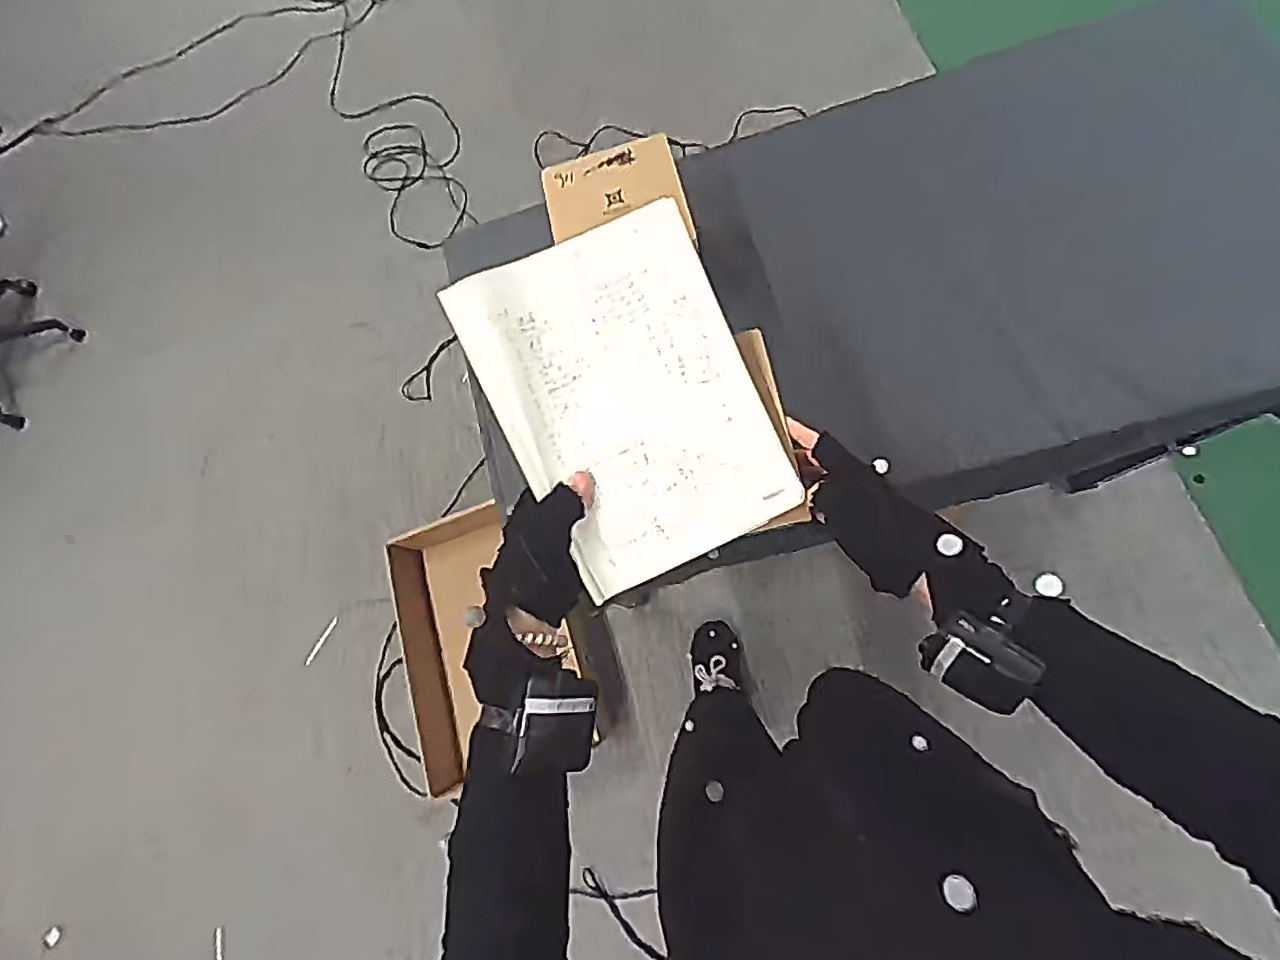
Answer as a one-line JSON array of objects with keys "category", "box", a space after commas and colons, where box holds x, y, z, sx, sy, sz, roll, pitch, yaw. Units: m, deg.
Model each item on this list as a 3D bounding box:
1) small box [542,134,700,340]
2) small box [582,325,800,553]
[{"category": "small box", "box": [-0.018, -0.309, 0.729, 0.168, 0.176, 0.179, -14, 73, 5]}, {"category": "small box", "box": [0.055, -0.028, 0.553, 0.168, 0.176, 0.179, -13, 81, 7]}]
